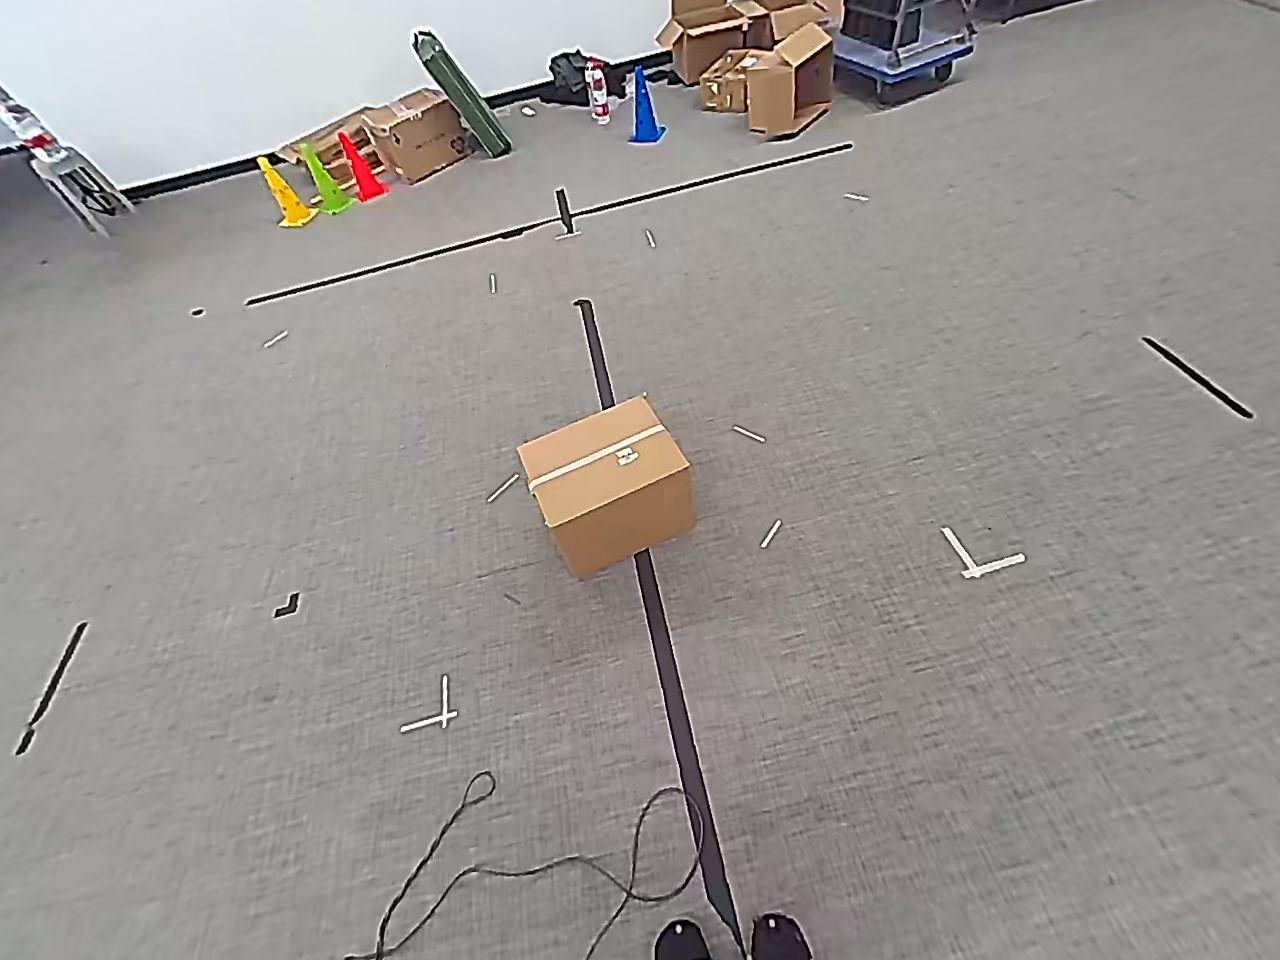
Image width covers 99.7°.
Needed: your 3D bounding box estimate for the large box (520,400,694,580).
[{"bbox_3d":[-0.090,0.033,1.610,0.408,0.320,0.320,-23,54,-9],"label":"large box"}]
